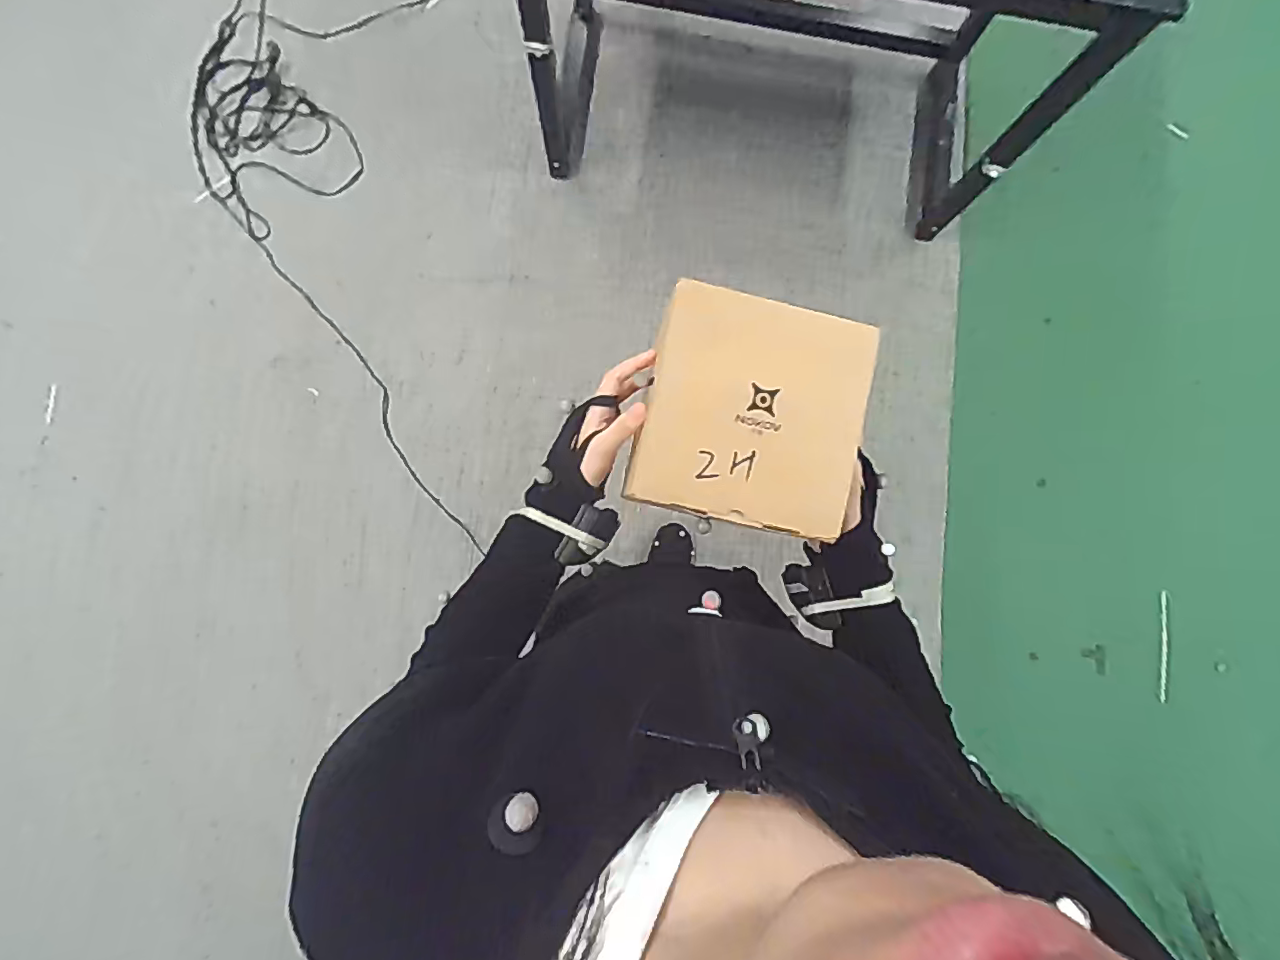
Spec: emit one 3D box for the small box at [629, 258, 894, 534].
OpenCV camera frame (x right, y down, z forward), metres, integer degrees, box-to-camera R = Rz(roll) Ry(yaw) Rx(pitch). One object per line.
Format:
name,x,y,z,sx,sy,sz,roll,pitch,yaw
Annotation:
small box,0.089,-0.059,0.478,0.168,0.176,0.179,13,87,-4
